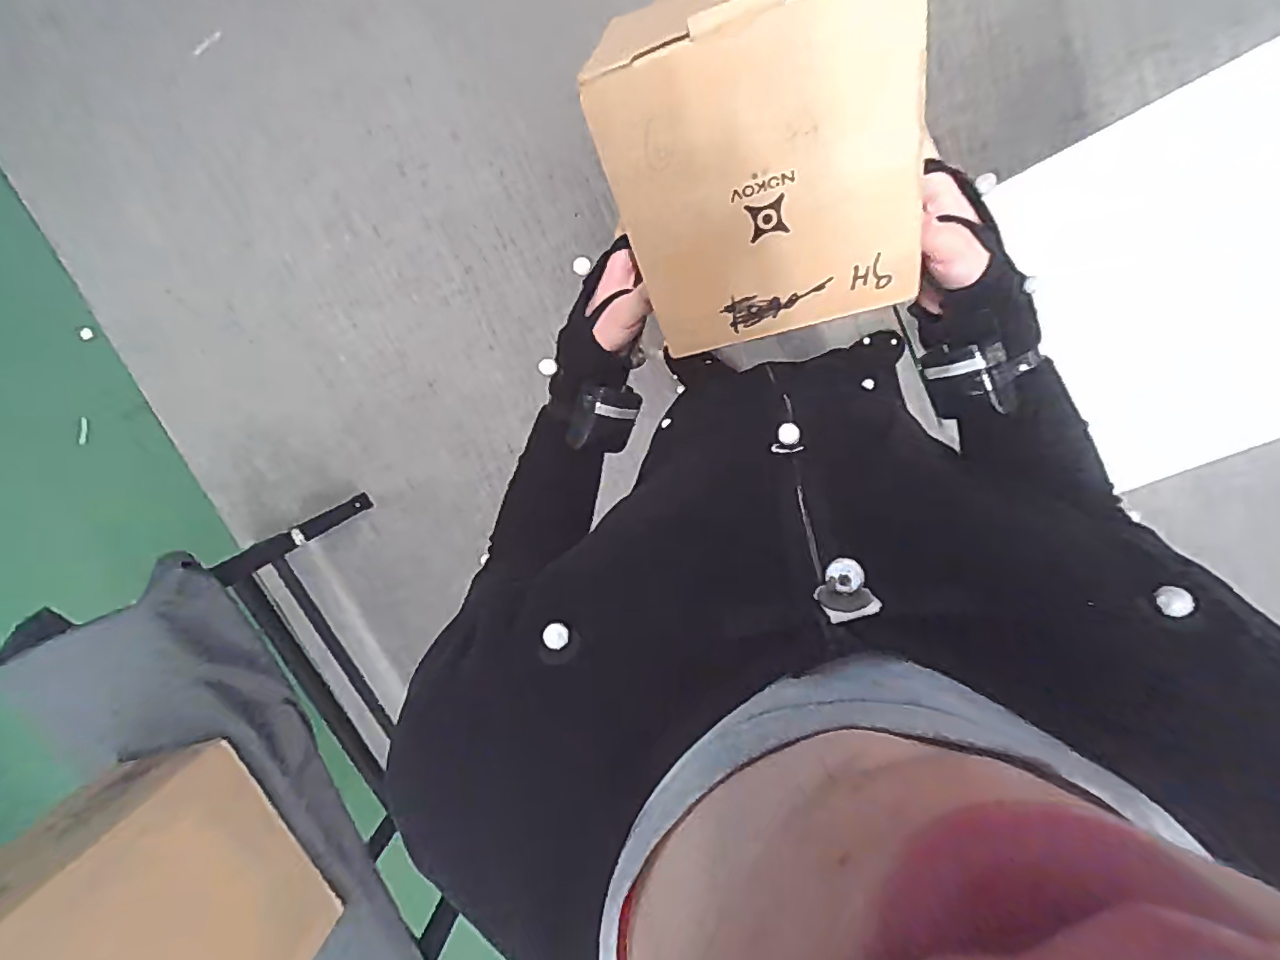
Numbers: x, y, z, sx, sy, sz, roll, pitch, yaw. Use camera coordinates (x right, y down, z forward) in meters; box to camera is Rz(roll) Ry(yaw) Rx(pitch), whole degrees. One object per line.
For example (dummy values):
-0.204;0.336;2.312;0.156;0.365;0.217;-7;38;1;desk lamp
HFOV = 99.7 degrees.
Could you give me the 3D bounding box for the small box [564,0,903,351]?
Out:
0.066;-0.221;0.364;0.168;0.176;0.179;-9;137;16;small box
